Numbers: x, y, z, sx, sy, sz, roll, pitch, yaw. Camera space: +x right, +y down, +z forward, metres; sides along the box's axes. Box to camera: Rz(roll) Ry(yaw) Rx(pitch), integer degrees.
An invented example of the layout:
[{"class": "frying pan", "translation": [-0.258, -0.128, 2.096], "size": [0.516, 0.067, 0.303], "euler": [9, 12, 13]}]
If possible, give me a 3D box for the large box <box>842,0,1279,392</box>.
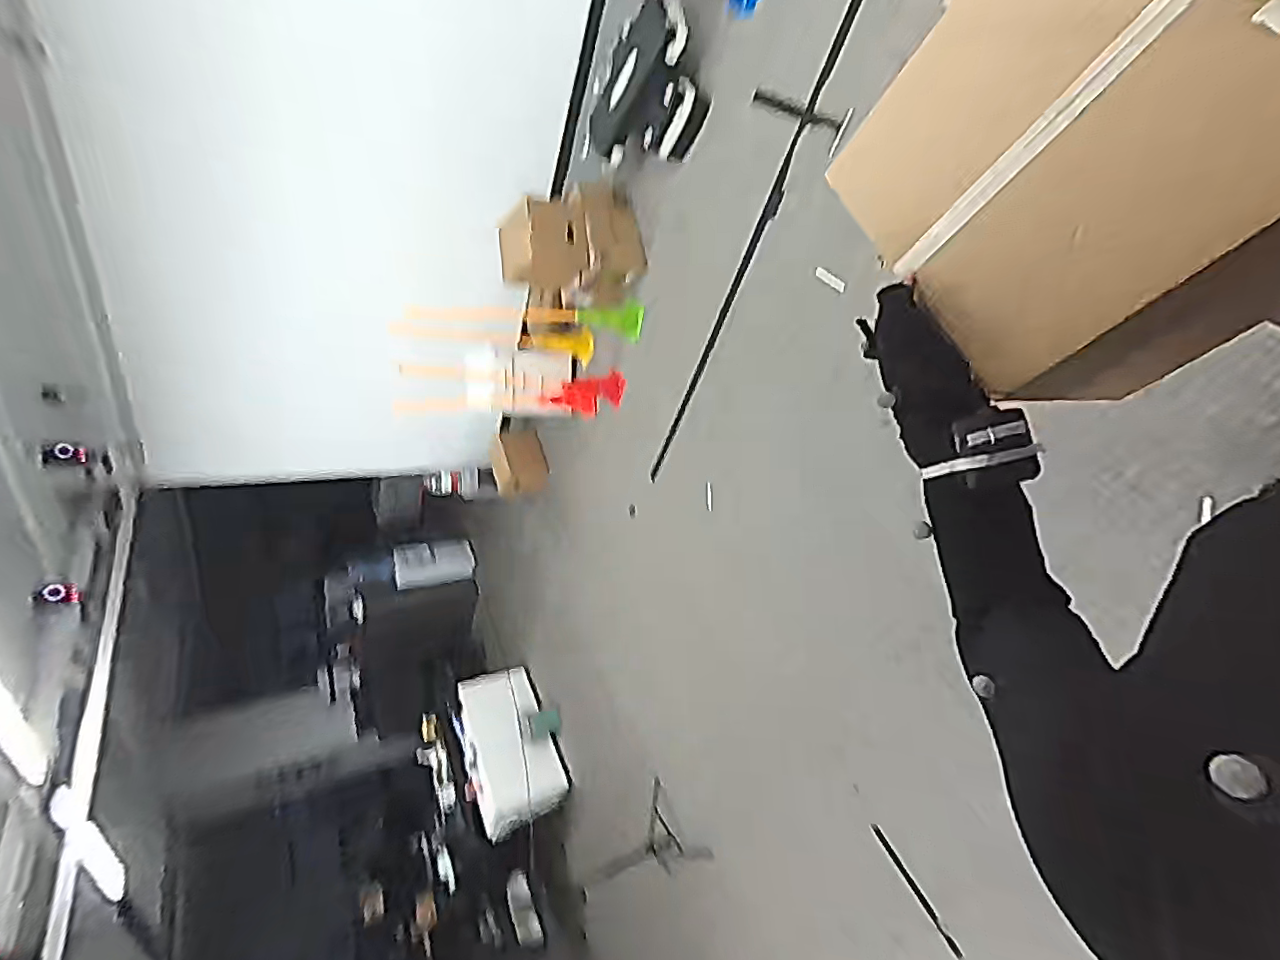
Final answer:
[{"class": "large box", "translation": [0.475, -0.320, 0.463], "size": [0.408, 0.320, 0.320], "euler": [-48, 56, 48]}]
